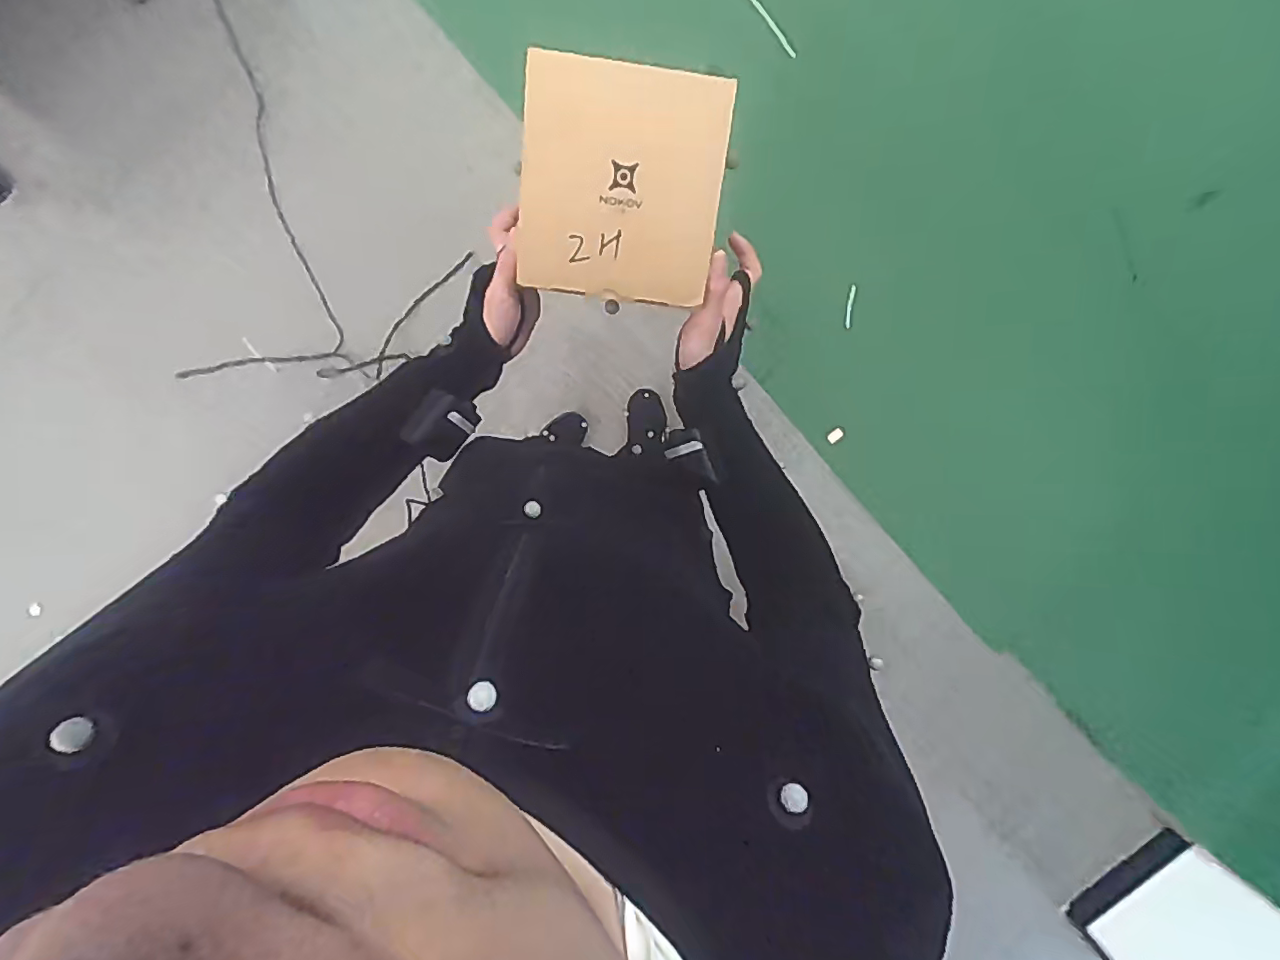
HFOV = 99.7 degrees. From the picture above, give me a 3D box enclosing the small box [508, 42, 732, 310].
[{"bbox_3d":[-0.022,-0.262,0.510,0.168,0.176,0.179,6,108,-3],"label":"small box"}]
